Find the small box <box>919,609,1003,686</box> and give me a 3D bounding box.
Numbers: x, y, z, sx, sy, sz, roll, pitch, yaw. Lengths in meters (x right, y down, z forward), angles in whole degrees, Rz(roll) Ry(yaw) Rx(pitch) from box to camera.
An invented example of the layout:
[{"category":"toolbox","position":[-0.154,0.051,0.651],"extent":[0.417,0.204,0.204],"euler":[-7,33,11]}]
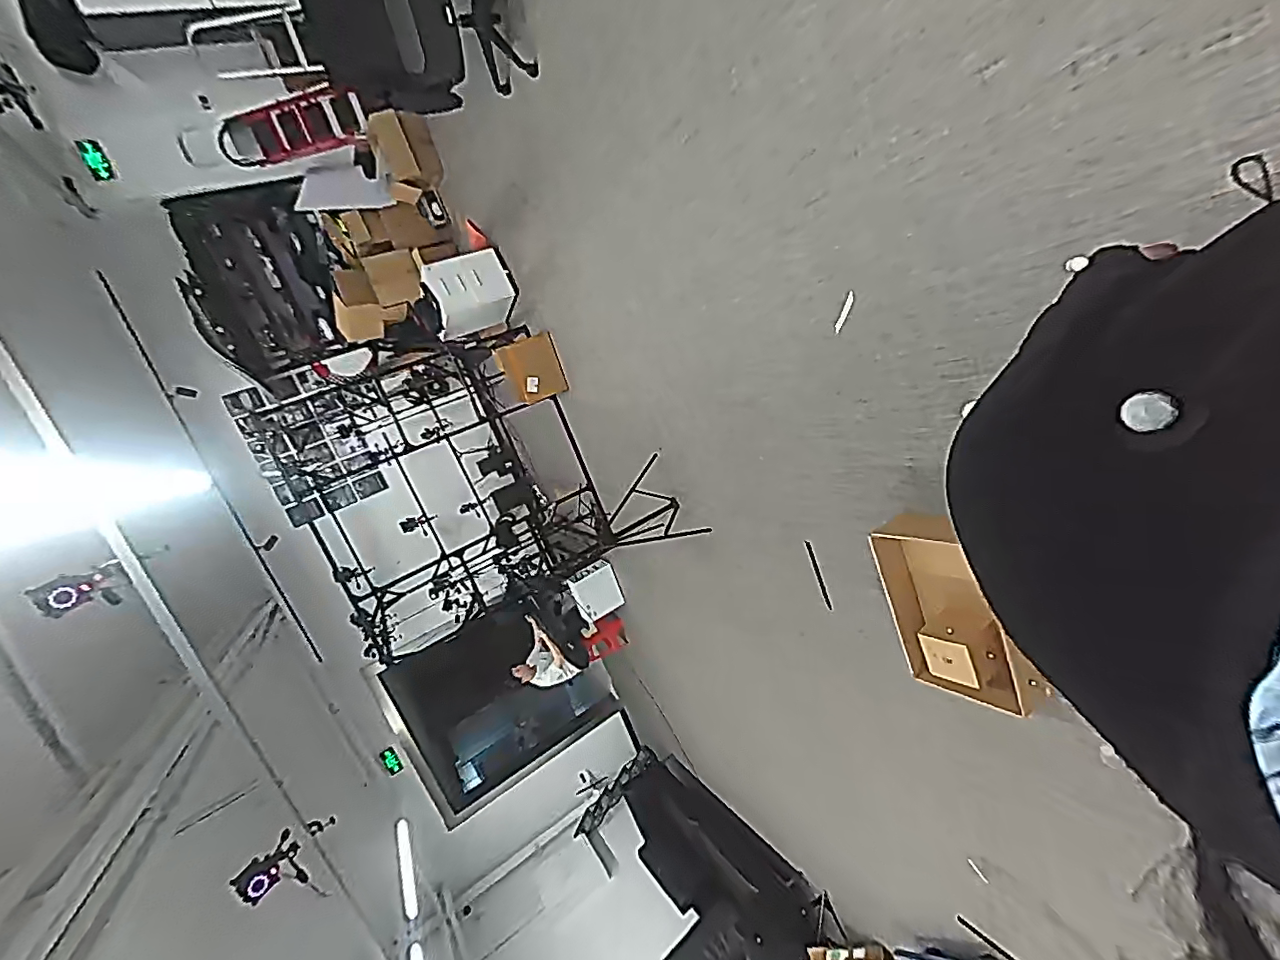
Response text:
[{"category":"small box","position":[1.091,0.557,1.826],"extent":[0.179,0.176,0.168],"euler":[-2,112,64]}]
